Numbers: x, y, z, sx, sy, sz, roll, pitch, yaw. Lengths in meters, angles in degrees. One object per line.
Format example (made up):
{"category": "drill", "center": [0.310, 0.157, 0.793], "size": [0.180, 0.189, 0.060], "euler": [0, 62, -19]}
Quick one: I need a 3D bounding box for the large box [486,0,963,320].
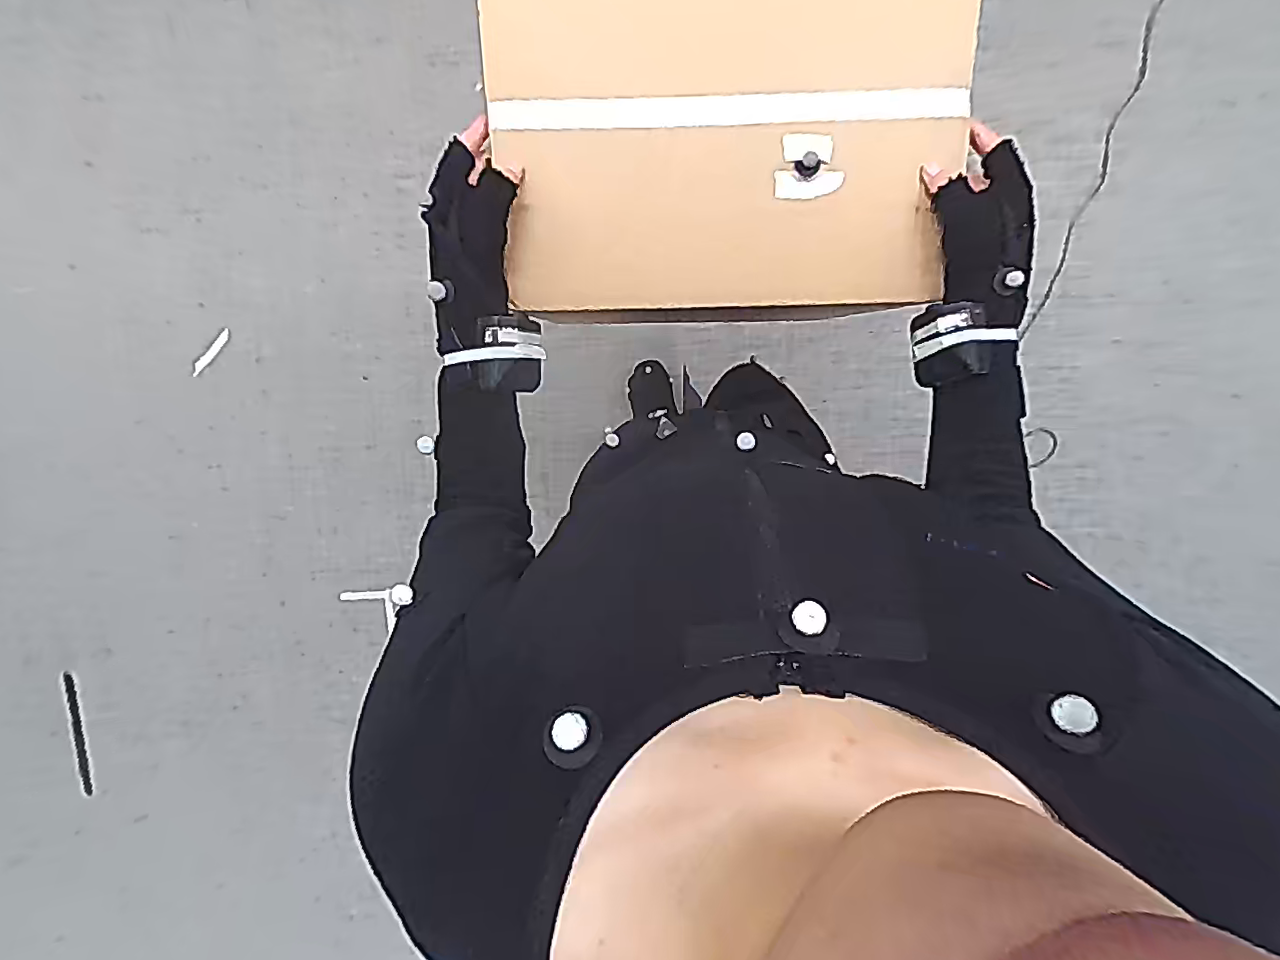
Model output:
{"category": "large box", "center": [0.070, -0.356, 0.612], "size": [0.408, 0.320, 0.320], "euler": [-1, 104, -1]}
